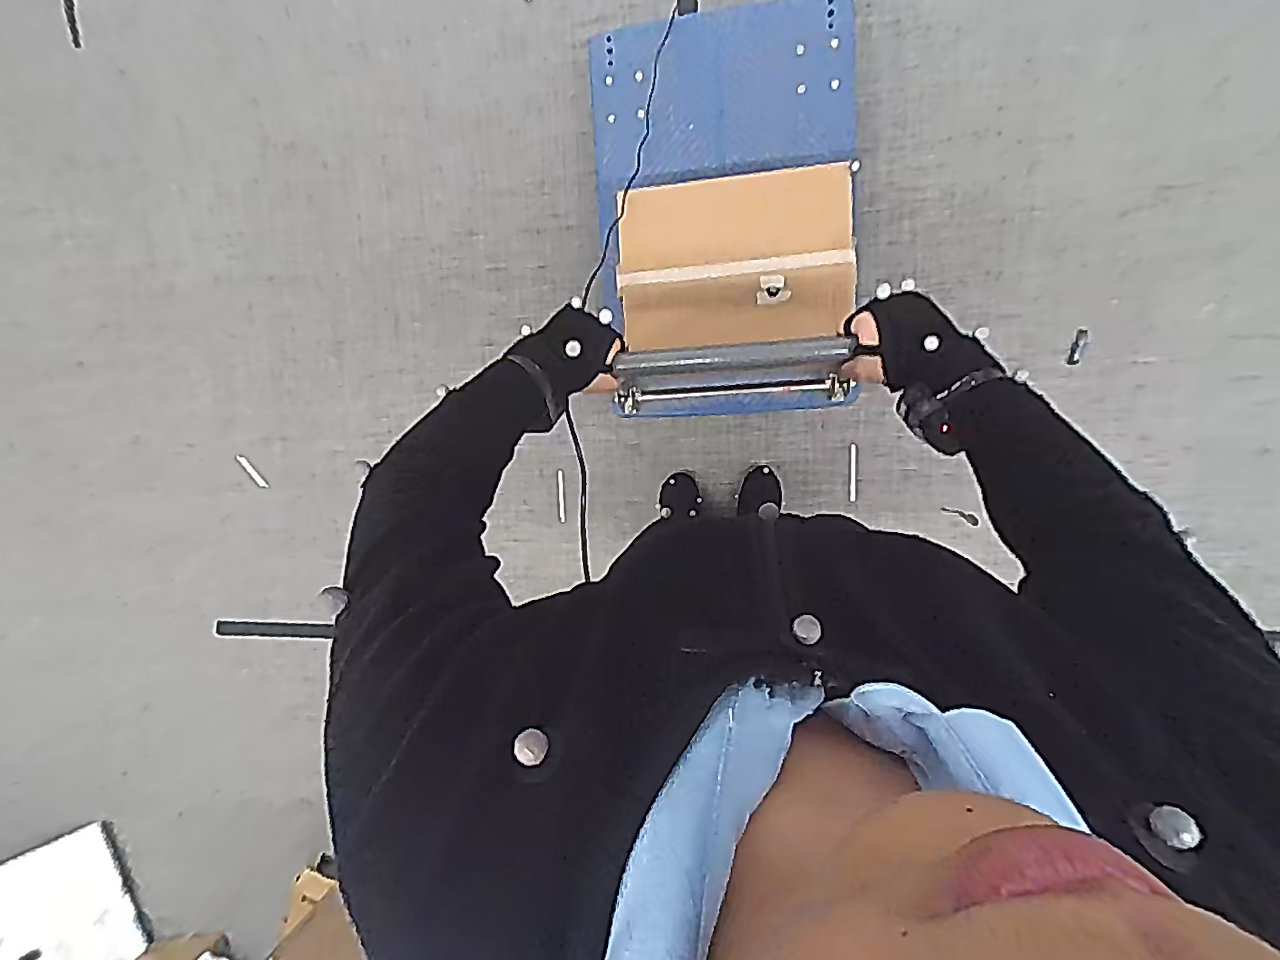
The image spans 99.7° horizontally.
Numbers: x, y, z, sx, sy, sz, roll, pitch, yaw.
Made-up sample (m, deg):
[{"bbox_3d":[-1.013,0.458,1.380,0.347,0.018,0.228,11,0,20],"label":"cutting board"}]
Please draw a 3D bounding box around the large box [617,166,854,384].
[{"bbox_3d":[0.184,-0.377,1.095,0.408,0.320,0.320,-3,96,9],"label":"large box"}]
